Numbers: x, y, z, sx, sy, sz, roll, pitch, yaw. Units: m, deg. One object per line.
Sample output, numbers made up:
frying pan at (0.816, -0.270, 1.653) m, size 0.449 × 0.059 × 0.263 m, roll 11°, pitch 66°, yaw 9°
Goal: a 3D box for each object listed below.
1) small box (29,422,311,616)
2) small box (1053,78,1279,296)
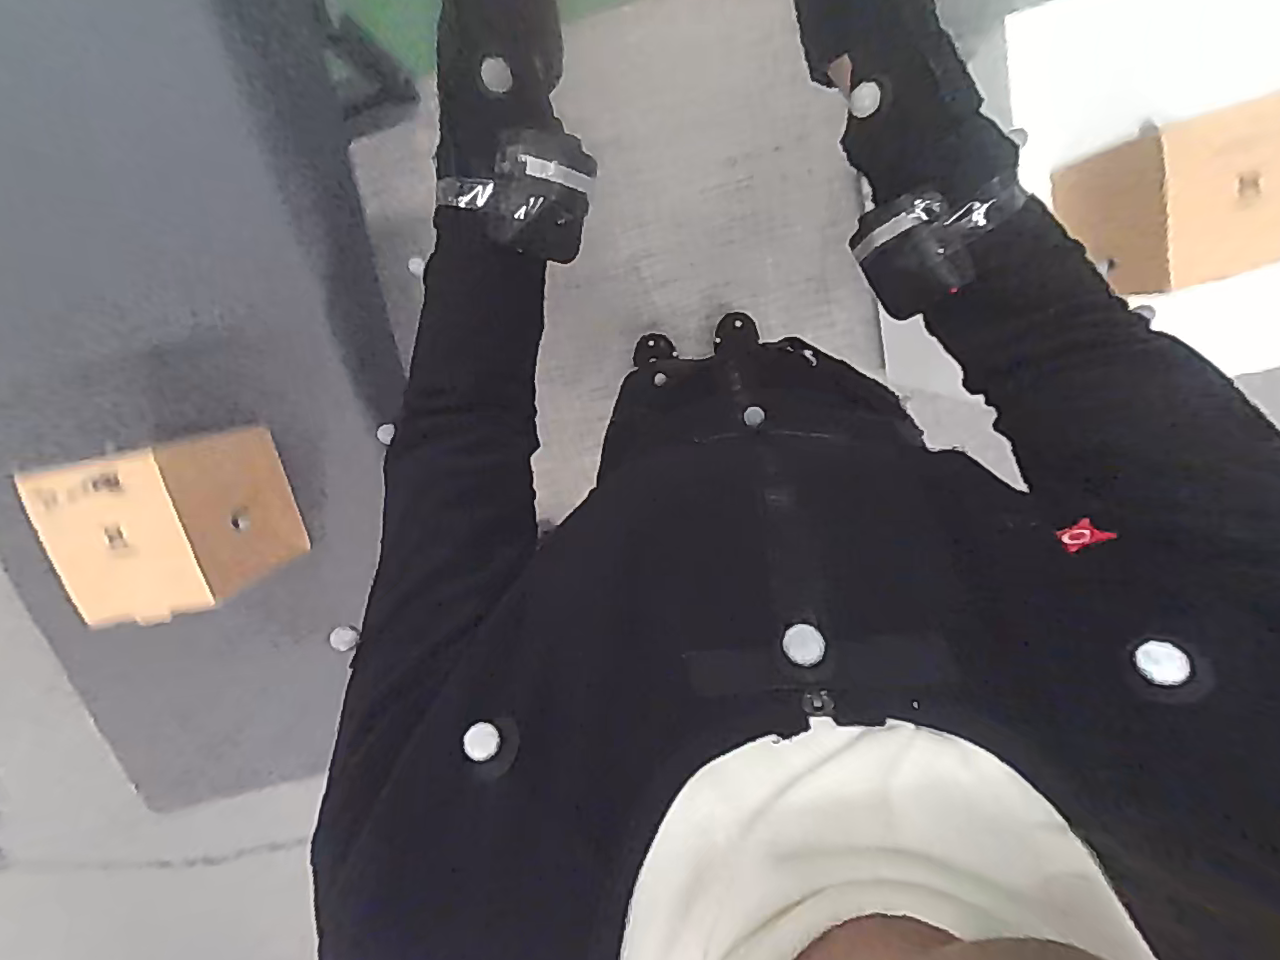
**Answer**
small box at (-0.551, 0.040, 0.666) m, size 0.168 × 0.176 × 0.179 m, roll -10°, pitch 106°, yaw 7°
small box at (0.620, -0.321, 0.621) m, size 0.168 × 0.176 × 0.179 m, roll -17°, pitch 103°, yaw 7°
